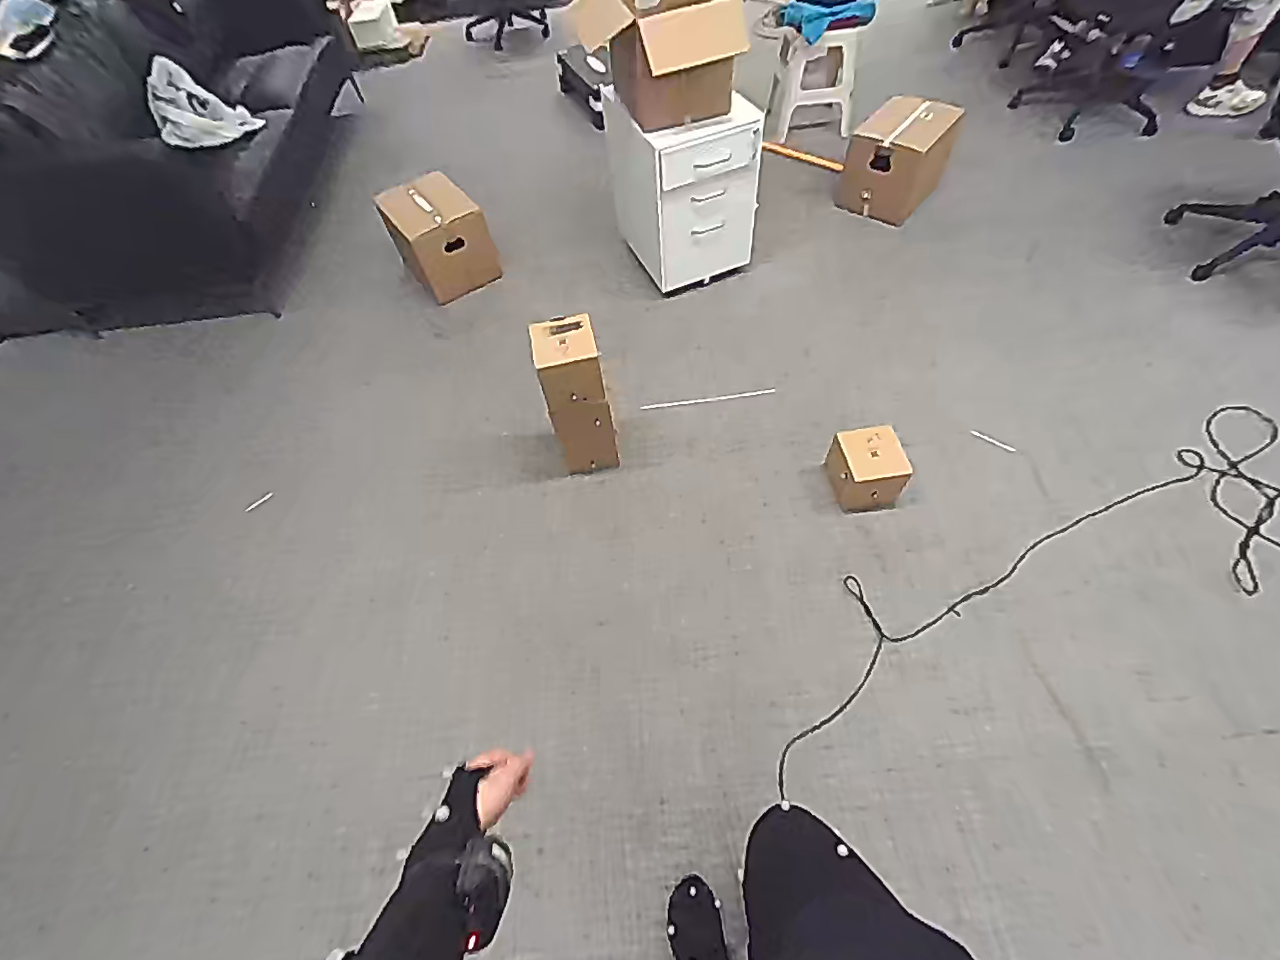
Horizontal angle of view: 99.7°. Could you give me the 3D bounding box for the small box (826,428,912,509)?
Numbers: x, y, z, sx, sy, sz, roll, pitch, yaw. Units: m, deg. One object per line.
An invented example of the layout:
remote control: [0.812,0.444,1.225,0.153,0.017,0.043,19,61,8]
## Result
small box: [0.670,-0.027,1.601,0.168,0.176,0.179,-9,57,0]

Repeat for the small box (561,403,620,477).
small box: [-0.160,-0.129,1.768,0.179,0.176,0.168,-9,56,0]

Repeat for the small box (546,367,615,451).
small box: [-0.173,-0.210,1.627,0.179,0.176,0.168,-12,55,0]
